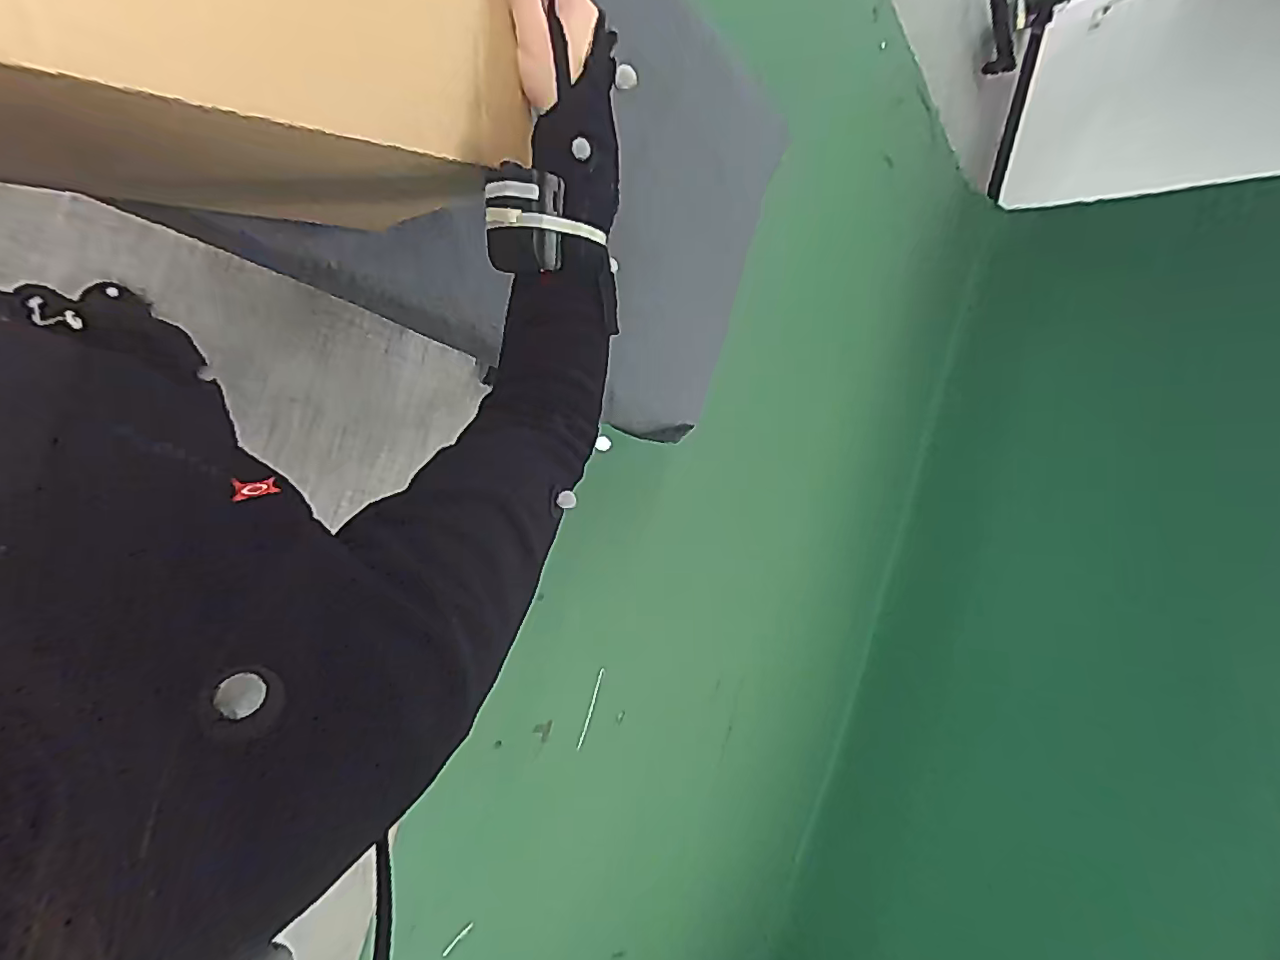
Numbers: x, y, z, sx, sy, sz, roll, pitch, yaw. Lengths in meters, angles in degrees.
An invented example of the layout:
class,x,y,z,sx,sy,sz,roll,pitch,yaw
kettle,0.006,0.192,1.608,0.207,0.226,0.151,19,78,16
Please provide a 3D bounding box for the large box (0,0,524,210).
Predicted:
class,x,y,z,sx,sy,sz,roll,pitch,yaw
large box,-0.329,-0.369,0.315,0.408,0.320,0.320,-15,114,-43
